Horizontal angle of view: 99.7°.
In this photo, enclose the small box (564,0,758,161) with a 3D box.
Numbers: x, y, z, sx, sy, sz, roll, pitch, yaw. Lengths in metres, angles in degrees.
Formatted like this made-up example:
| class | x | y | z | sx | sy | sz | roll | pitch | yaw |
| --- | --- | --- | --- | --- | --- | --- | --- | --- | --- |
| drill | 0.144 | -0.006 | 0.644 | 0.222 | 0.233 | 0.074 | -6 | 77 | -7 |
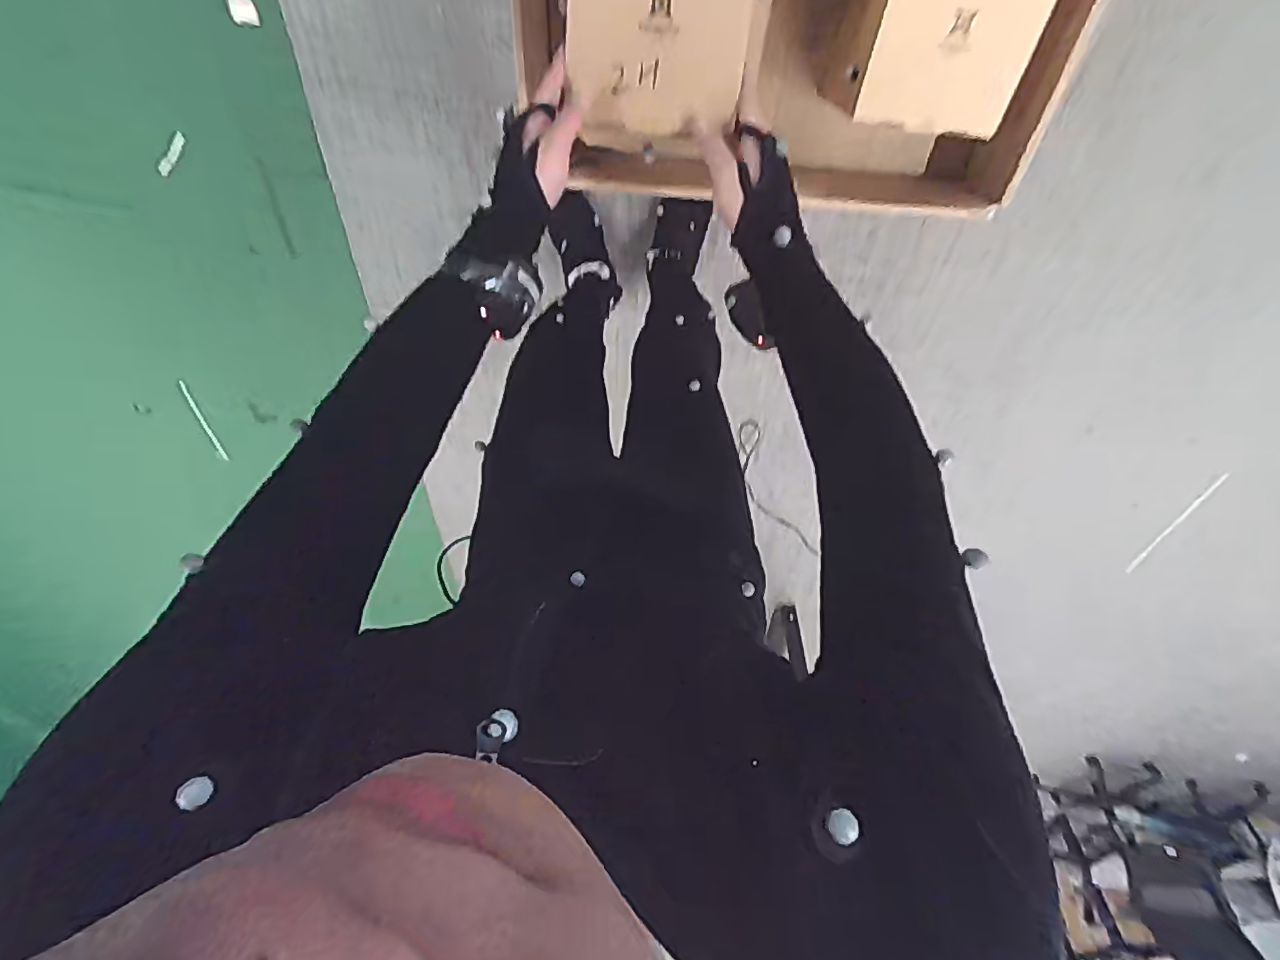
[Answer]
| class | x | y | z | sx | sy | sz | roll | pitch | yaw |
| --- | --- | --- | --- | --- | --- | --- | --- | --- | --- |
| small box | 0.021 | -0.442 | 0.548 | 0.168 | 0.176 | 0.179 | 7 | 115 | -1 |
